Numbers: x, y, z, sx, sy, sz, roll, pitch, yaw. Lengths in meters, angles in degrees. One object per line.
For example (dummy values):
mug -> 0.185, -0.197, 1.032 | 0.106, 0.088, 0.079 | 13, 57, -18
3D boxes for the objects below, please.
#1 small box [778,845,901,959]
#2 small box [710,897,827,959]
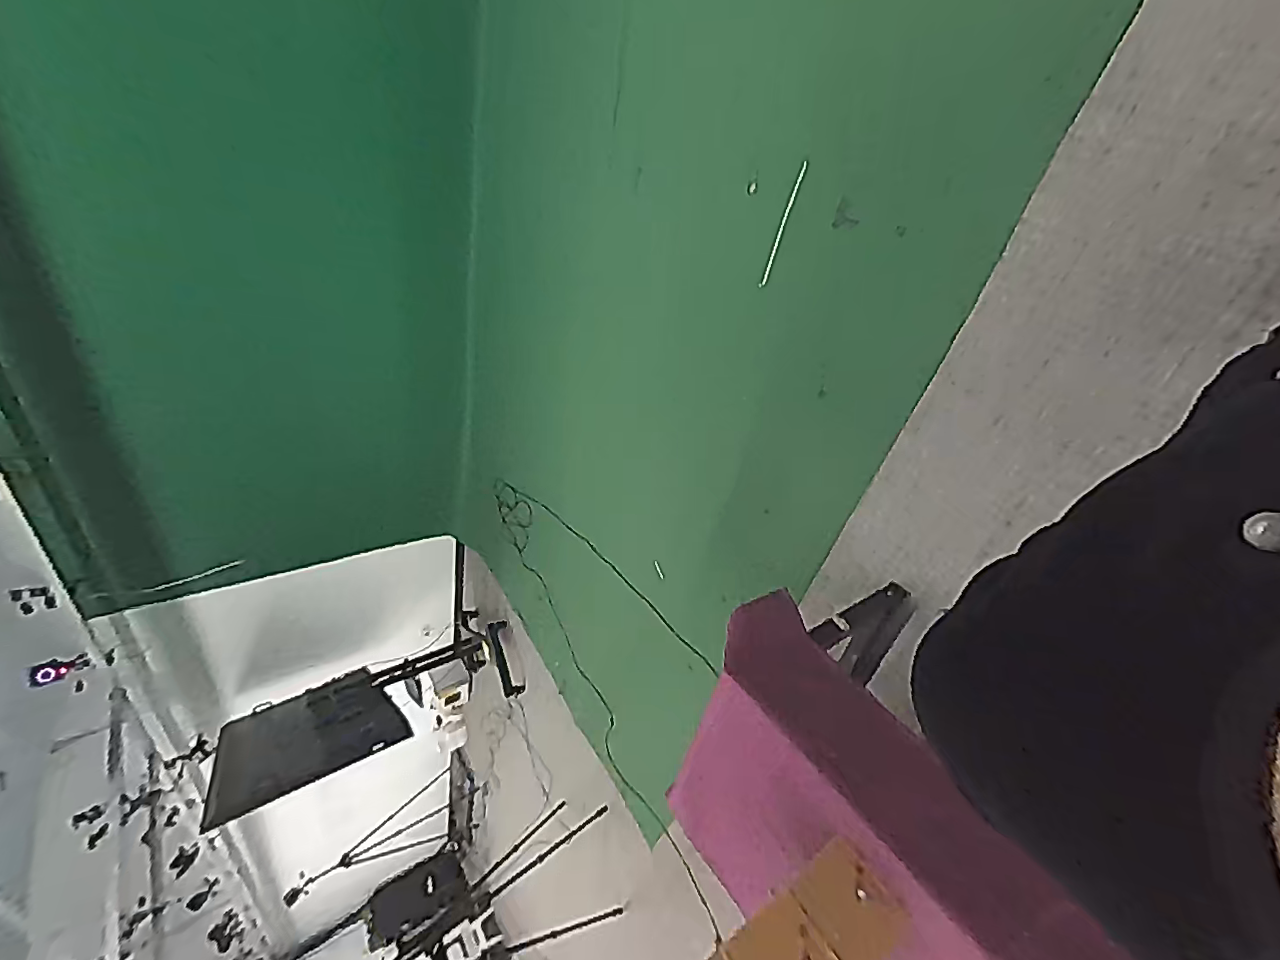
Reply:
small box -> 0.340, 0.822, 0.990 | 0.168, 0.176, 0.179 | 45, 133, 36
small box -> 0.209, 0.850, 0.897 | 0.168, 0.176, 0.179 | 45, 133, 37
